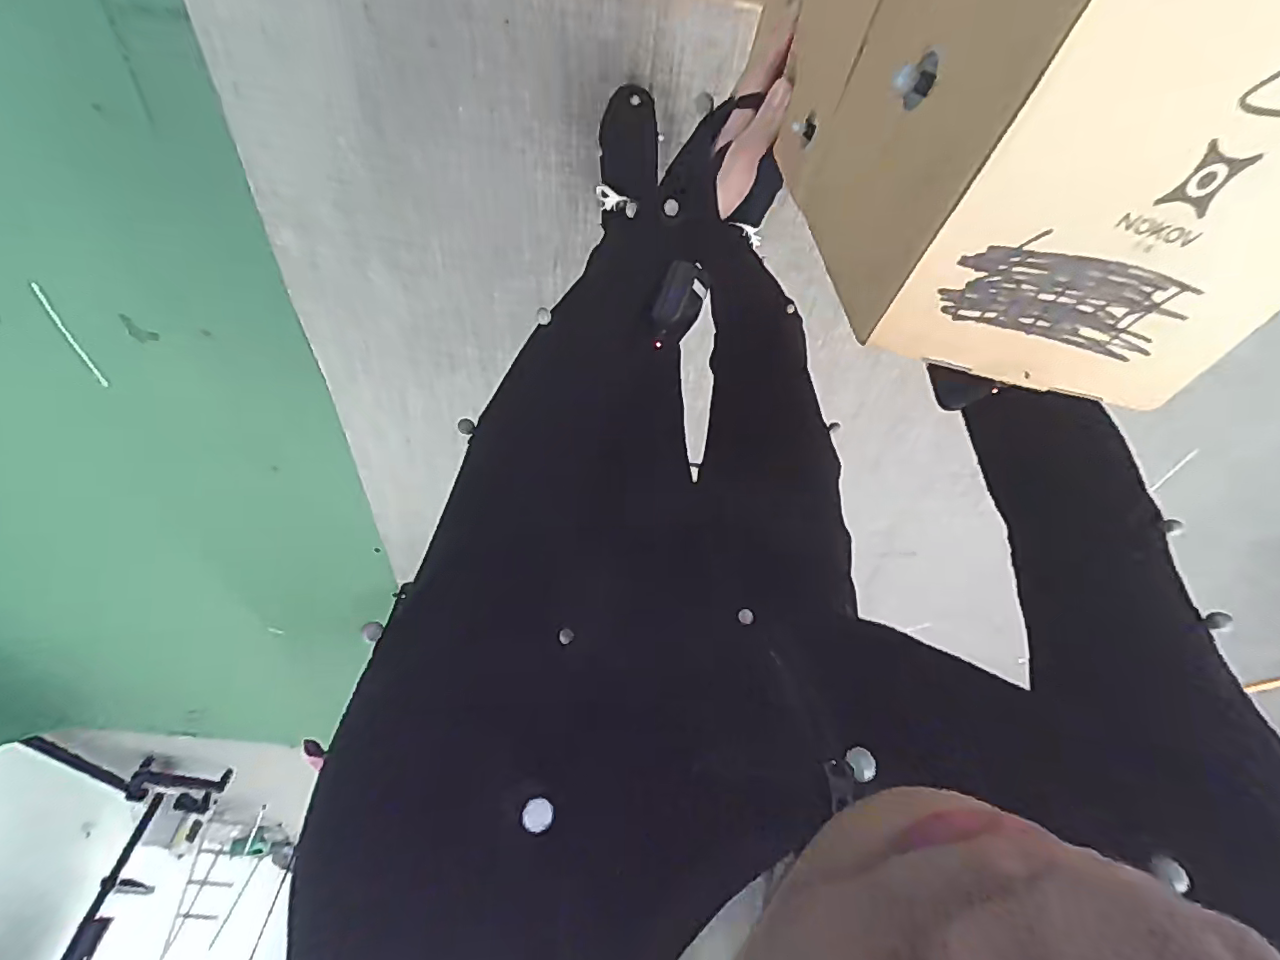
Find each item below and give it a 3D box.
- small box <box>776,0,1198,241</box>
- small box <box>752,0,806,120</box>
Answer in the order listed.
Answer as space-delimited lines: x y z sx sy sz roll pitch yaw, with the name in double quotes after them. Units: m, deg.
0.205 -0.295 0.362 0.168 0.176 0.179 7 139 -8 "small box"
0.207 -0.417 0.468 0.168 0.176 0.179 9 139 -8 "small box"
